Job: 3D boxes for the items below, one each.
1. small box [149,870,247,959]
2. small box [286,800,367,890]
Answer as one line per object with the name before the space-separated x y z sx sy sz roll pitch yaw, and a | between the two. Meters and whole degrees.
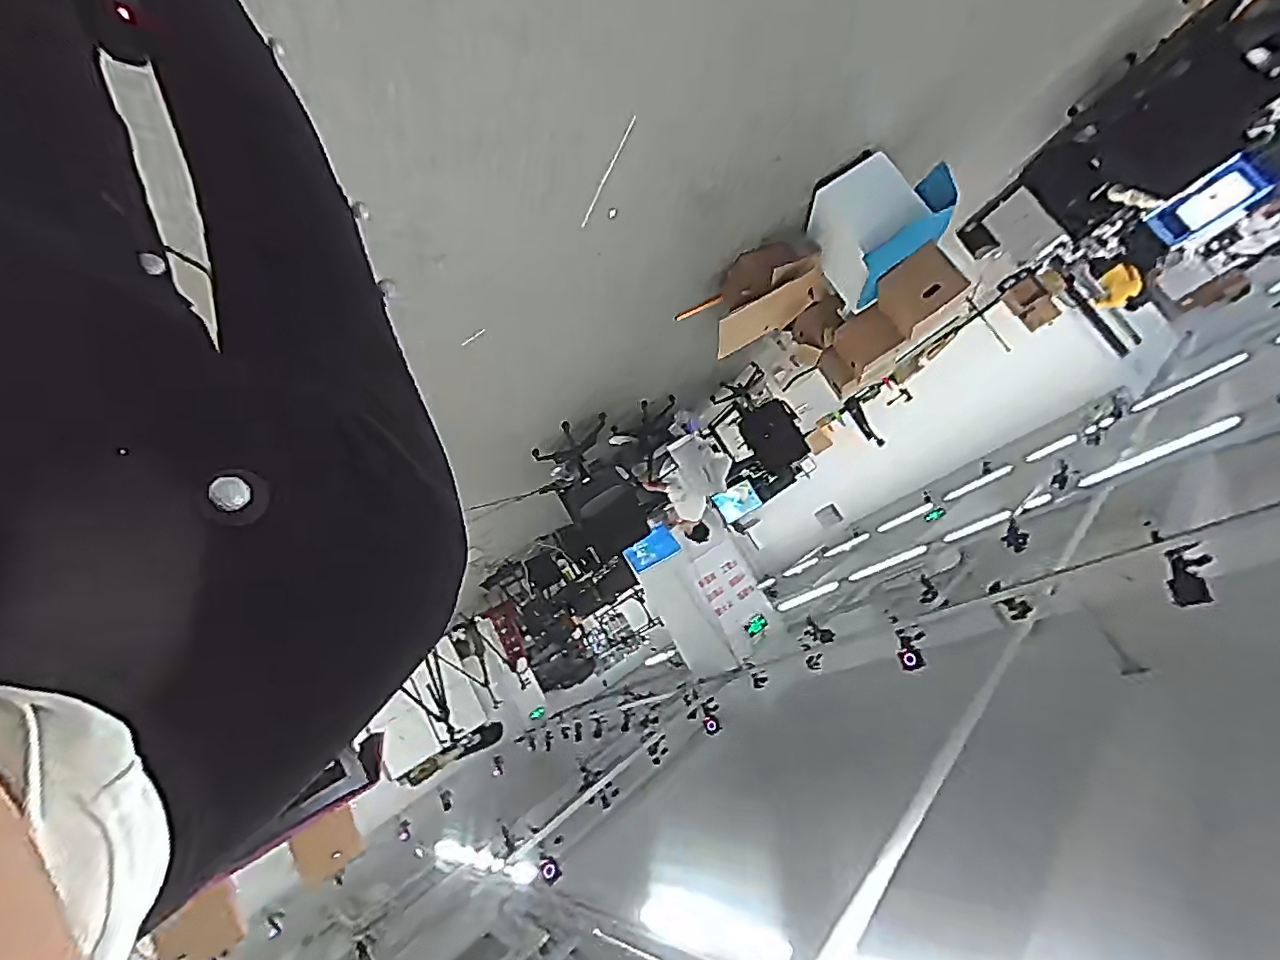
small box | -1.240 1.245 1.519 0.179 0.176 0.168 -22 167 -39
small box | -0.991 1.142 1.713 0.179 0.176 0.168 -21 166 -35
